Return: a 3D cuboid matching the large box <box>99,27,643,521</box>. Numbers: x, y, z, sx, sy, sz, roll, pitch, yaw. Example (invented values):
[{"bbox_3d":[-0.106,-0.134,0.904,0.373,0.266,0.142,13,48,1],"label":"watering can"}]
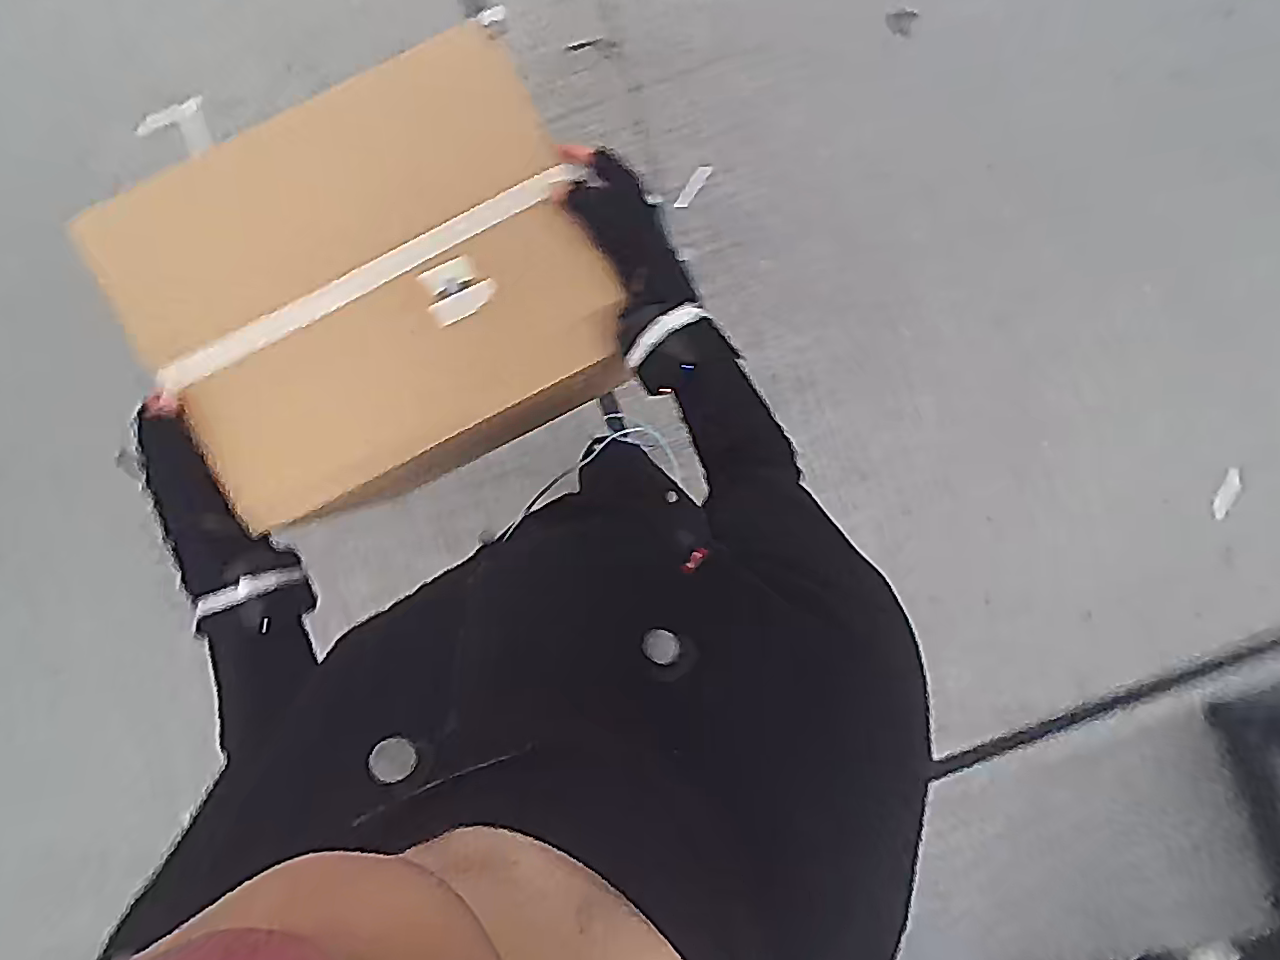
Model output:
[{"bbox_3d":[-0.249,-0.192,0.643,0.408,0.320,0.320,-28,95,-2],"label":"large box"}]
